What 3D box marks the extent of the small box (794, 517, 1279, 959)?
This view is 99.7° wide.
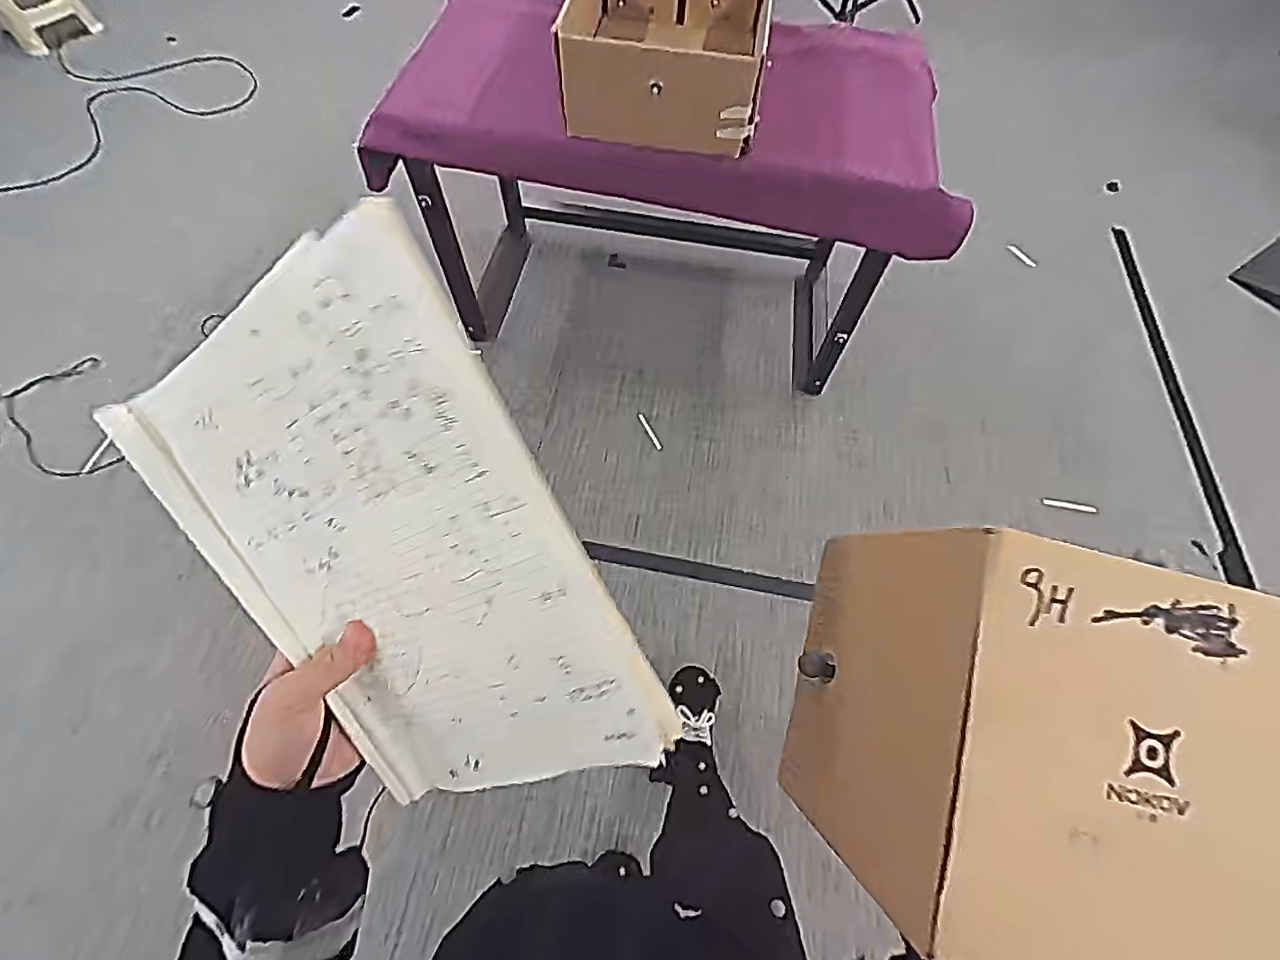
[{"bbox_3d":[0.203,0.127,0.303,0.168,0.176,0.179,14,82,-4],"label":"small box"}]
